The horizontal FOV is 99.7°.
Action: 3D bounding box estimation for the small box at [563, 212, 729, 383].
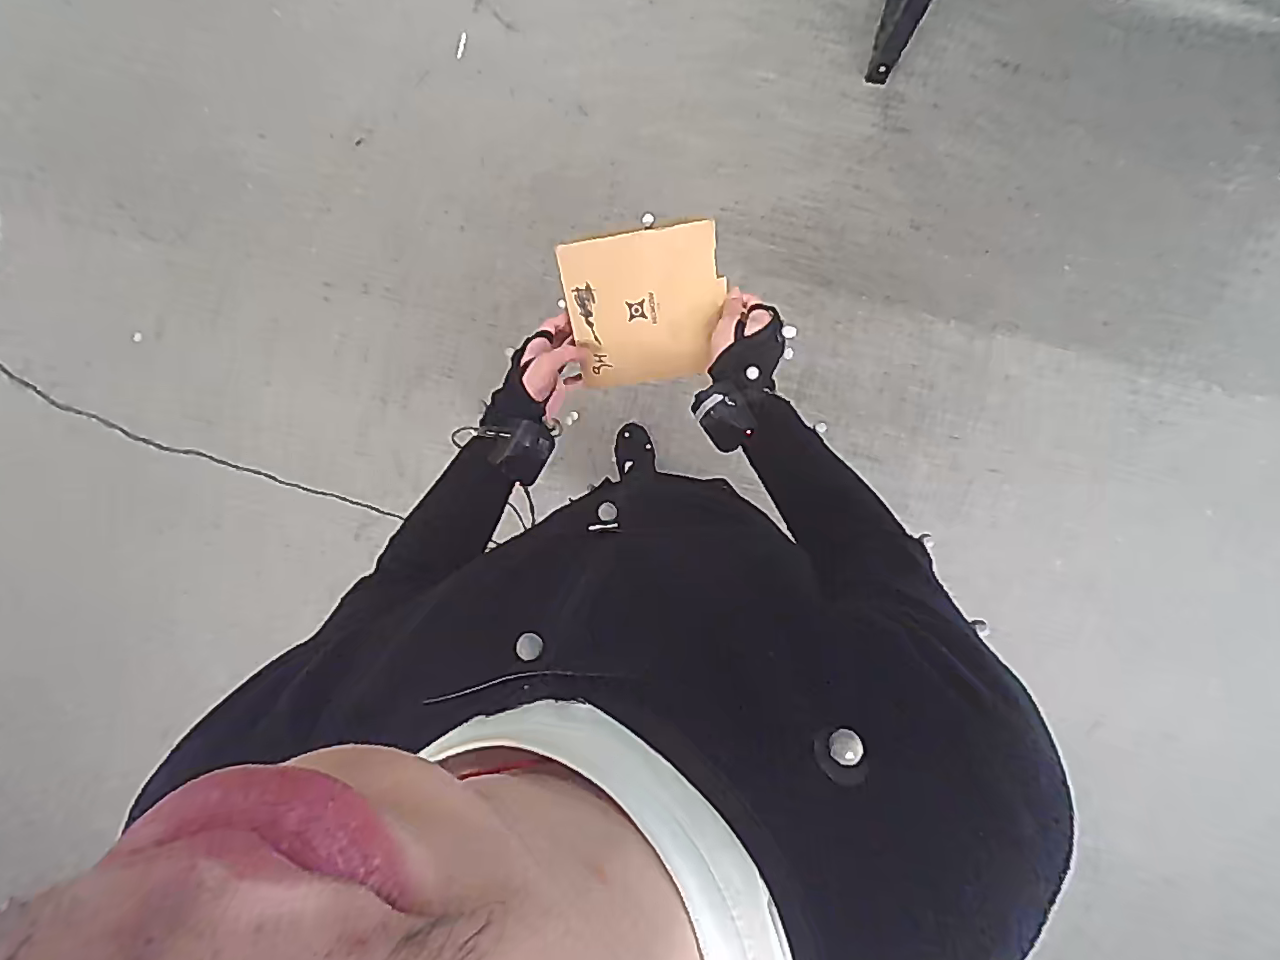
[{"bbox_3d":[0.012,-0.238,0.690,0.179,0.176,0.168,-7,118,6],"label":"small box"}]
